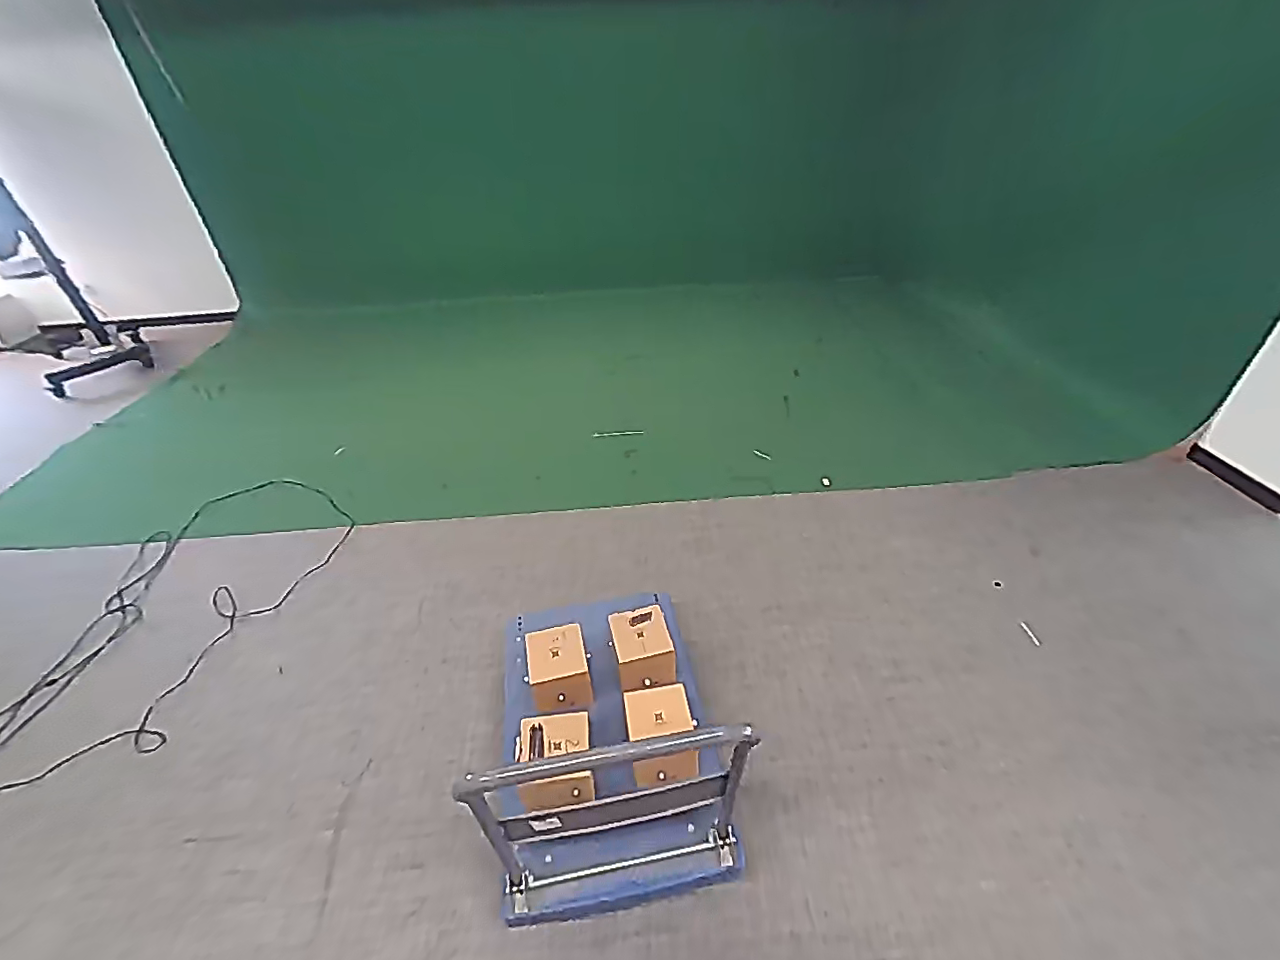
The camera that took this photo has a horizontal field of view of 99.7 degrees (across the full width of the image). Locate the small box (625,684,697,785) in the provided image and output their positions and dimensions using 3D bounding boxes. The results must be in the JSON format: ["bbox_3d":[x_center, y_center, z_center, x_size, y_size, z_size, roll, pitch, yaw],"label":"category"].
[{"bbox_3d":[0.051,0.676,1.438,0.168,0.176,0.179,-7,38,-6],"label":"small box"}]

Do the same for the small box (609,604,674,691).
[{"bbox_3d":[0.003,0.512,1.648,0.168,0.176,0.179,-11,40,-9],"label":"small box"}]

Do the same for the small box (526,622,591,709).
[{"bbox_3d":[-0.241,0.557,1.606,0.168,0.176,0.179,-9,38,-10],"label":"small box"}]
